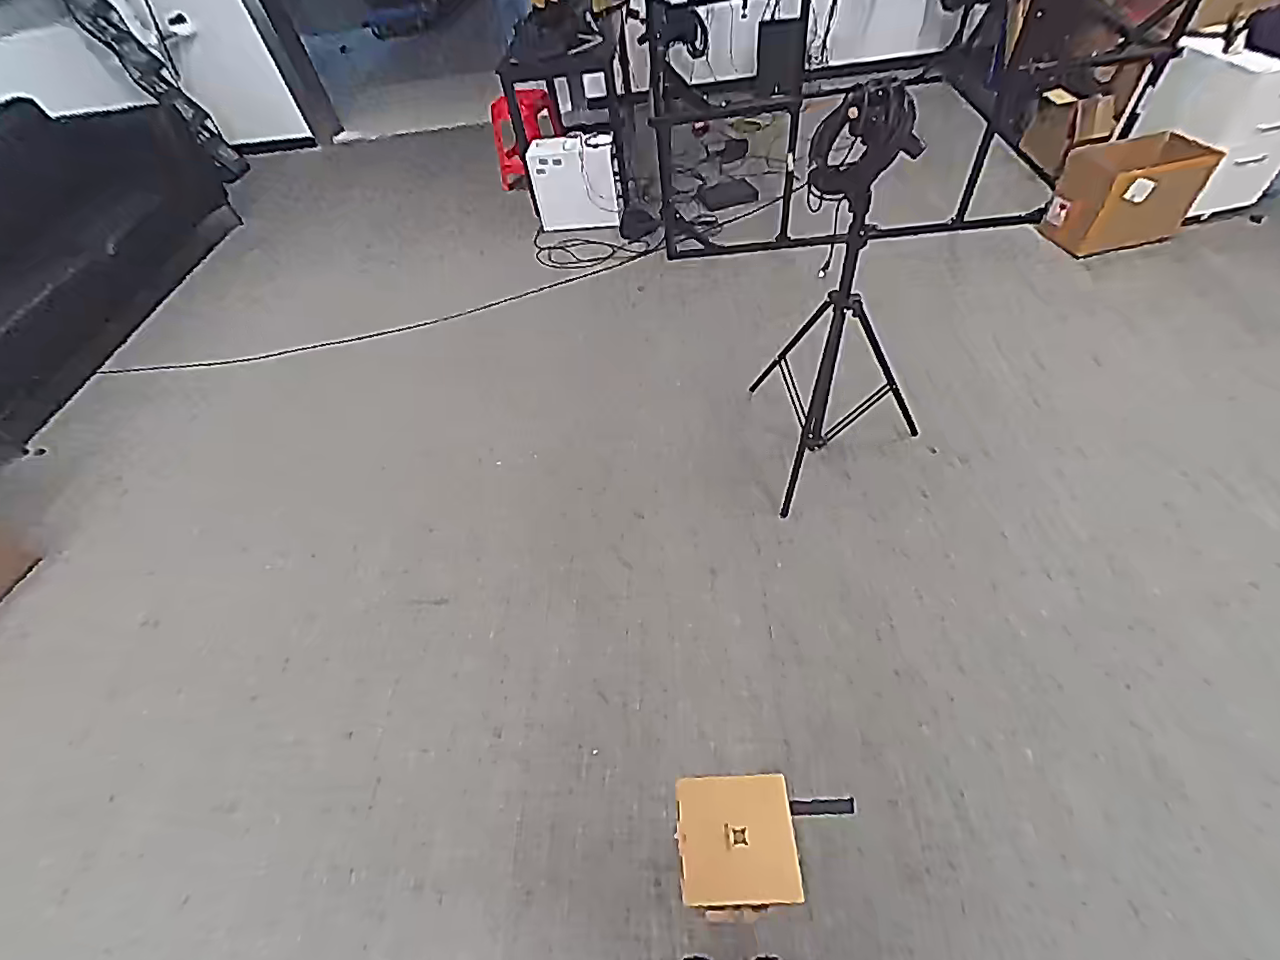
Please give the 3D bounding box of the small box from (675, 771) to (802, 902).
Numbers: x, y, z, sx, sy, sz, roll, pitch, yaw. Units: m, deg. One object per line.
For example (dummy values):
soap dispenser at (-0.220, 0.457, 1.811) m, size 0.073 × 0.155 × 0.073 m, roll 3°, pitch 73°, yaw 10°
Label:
small box at (0.152, 0.585, 0.886) m, size 0.179 × 0.176 × 0.168 m, roll -5°, pitch 52°, yaw 4°
